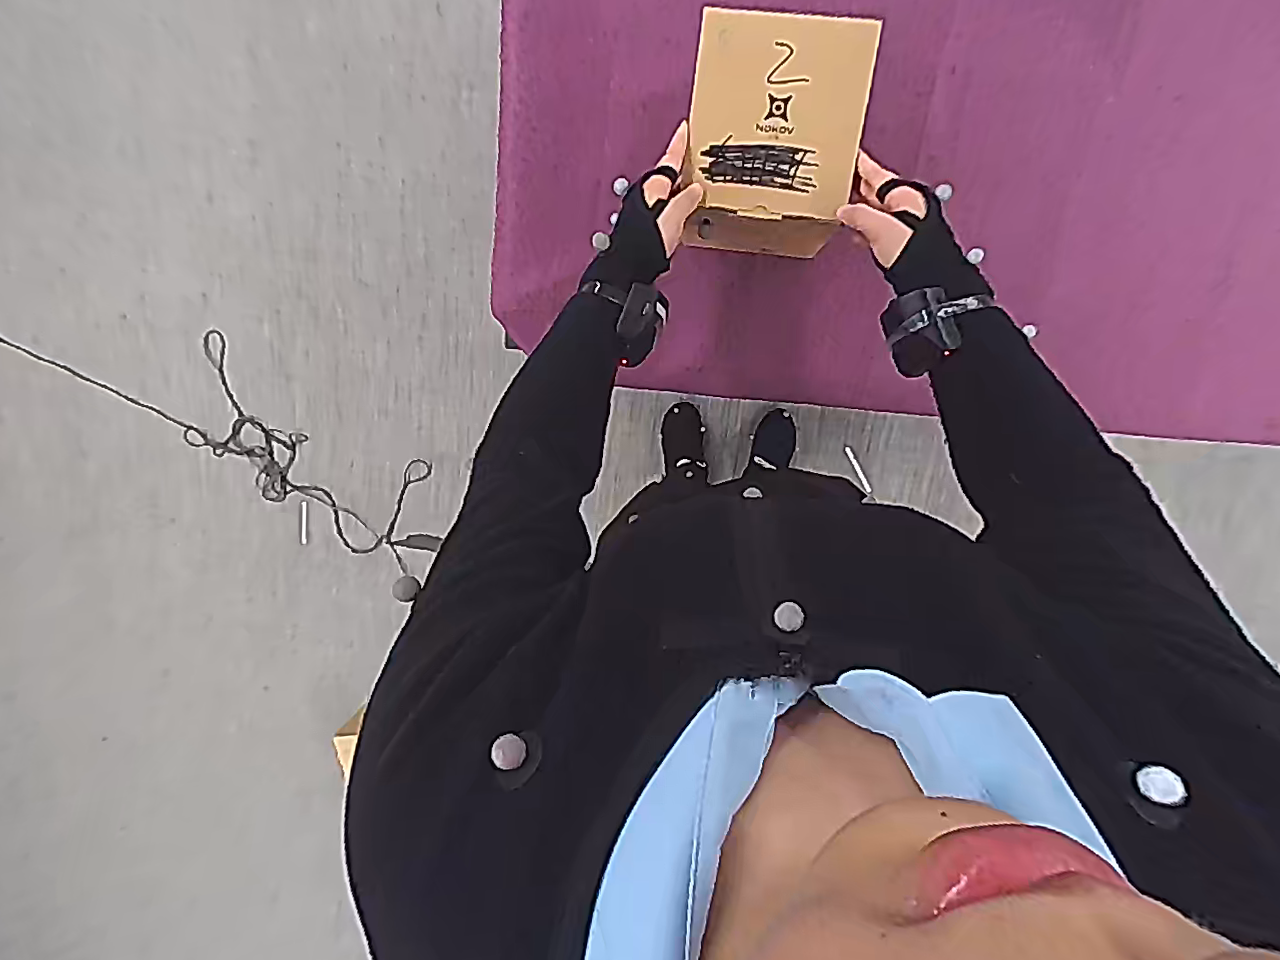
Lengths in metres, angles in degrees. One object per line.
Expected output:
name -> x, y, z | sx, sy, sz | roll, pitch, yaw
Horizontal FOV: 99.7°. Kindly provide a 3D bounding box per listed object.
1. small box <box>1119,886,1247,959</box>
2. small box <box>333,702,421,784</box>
small box -> 1.527, 1.307, 1.524 | 0.168, 0.176, 0.179 | 32, 103, -1
small box -> -0.803, 0.810, 1.679 | 0.179, 0.176, 0.168 | -8, 101, 8
